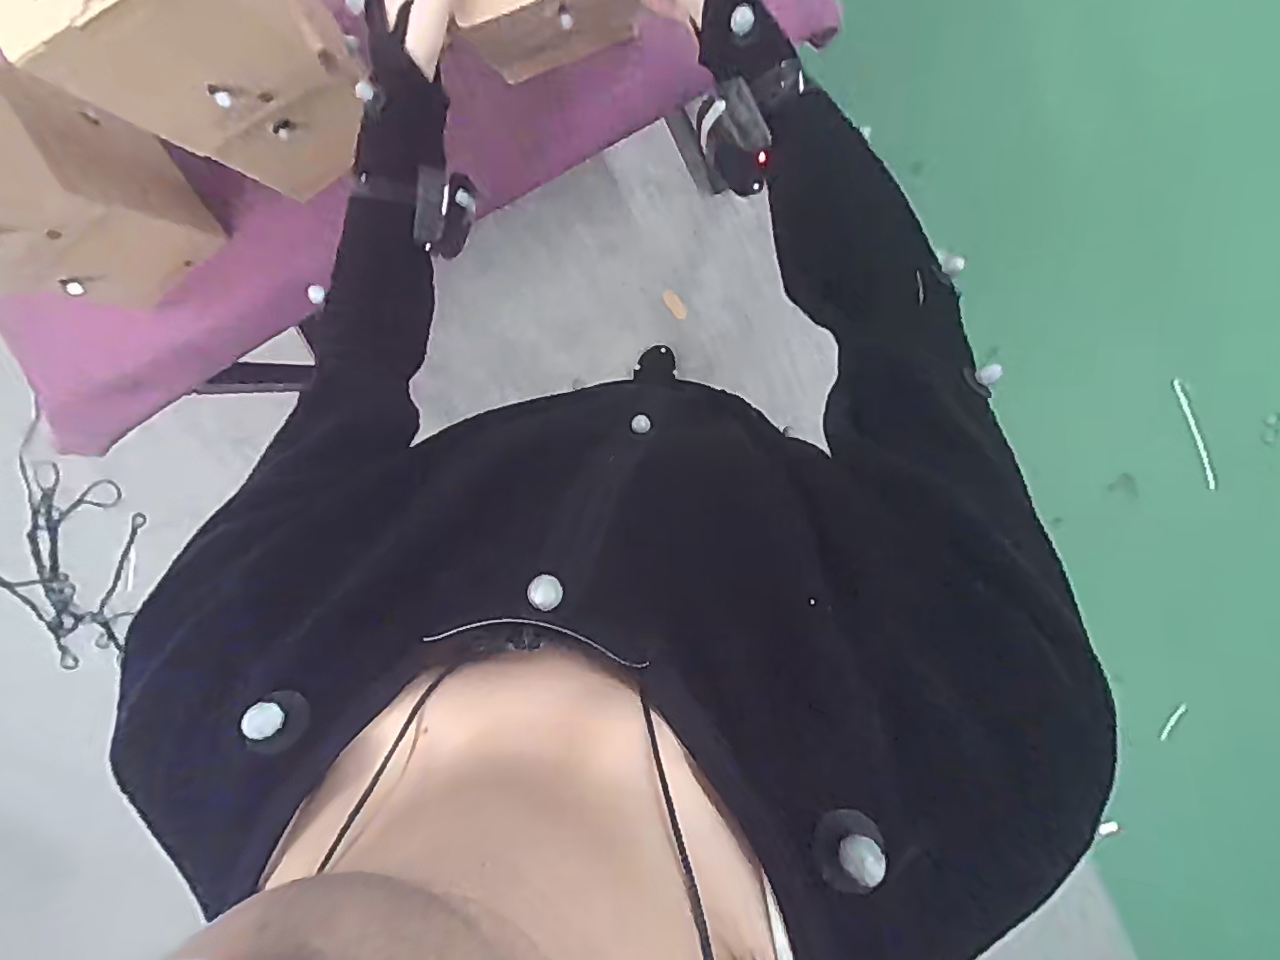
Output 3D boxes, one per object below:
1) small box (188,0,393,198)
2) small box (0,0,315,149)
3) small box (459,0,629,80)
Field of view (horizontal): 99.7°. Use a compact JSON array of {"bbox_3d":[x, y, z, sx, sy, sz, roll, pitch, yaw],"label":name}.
[{"bbox_3d":[-0.432,-0.467,0.625,0.179,0.176,0.168,-32,97,8],"label":"small box"},{"bbox_3d":[-0.434,-0.434,0.464,0.168,0.176,0.179,-25,98,7],"label":"small box"},{"bbox_3d":[-0.115,-0.586,0.583,0.179,0.176,0.168,-16,97,8],"label":"small box"}]
